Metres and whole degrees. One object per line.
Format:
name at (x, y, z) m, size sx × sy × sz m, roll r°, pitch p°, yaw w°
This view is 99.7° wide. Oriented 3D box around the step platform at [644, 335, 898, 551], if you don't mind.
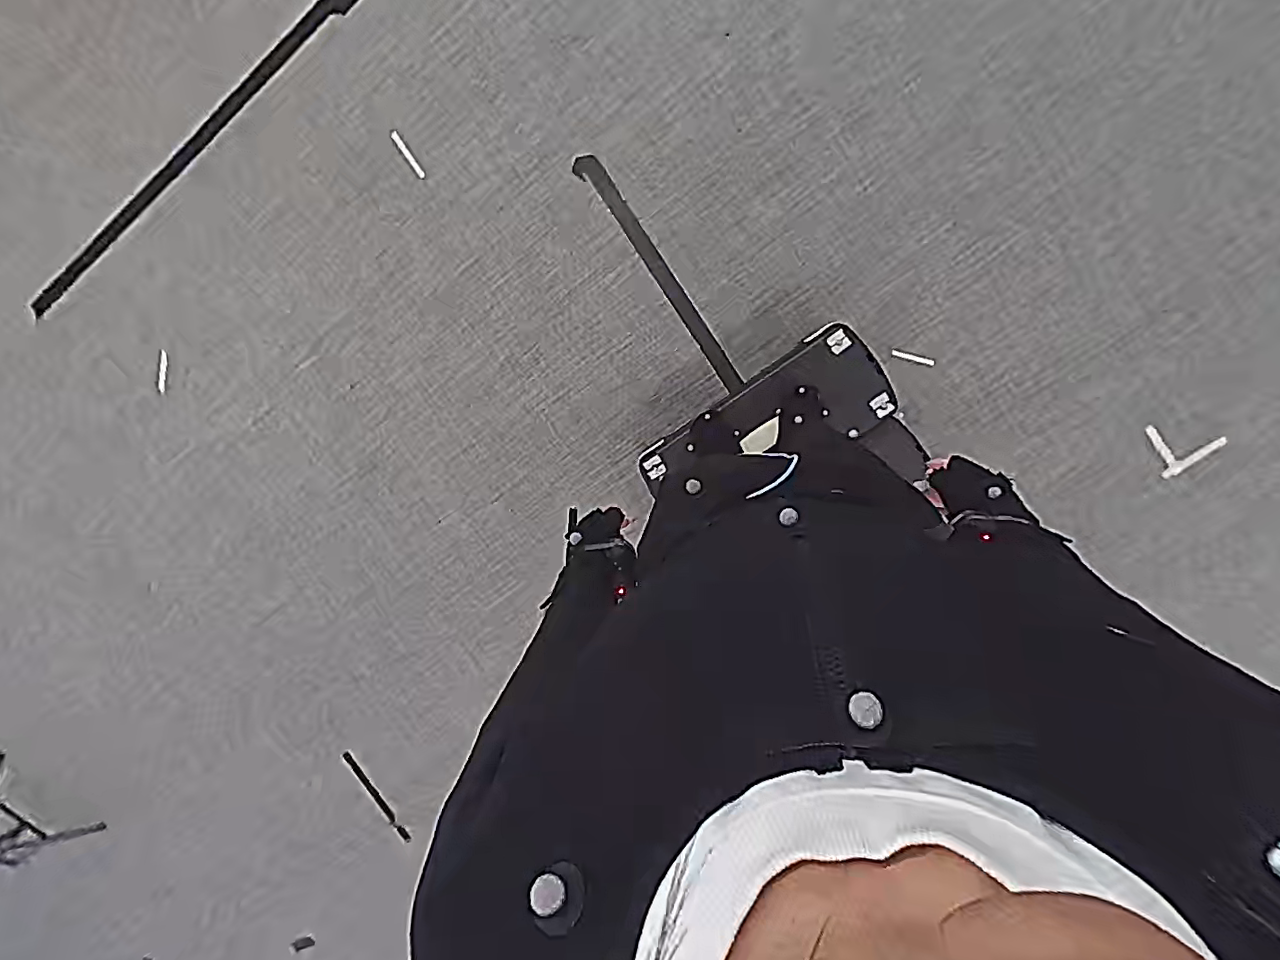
step platform at (0.343, -0.097, 1.505) m, size 0.684 × 0.204 × 0.286 m, roll -36°, pitch 94°, yaw 10°
